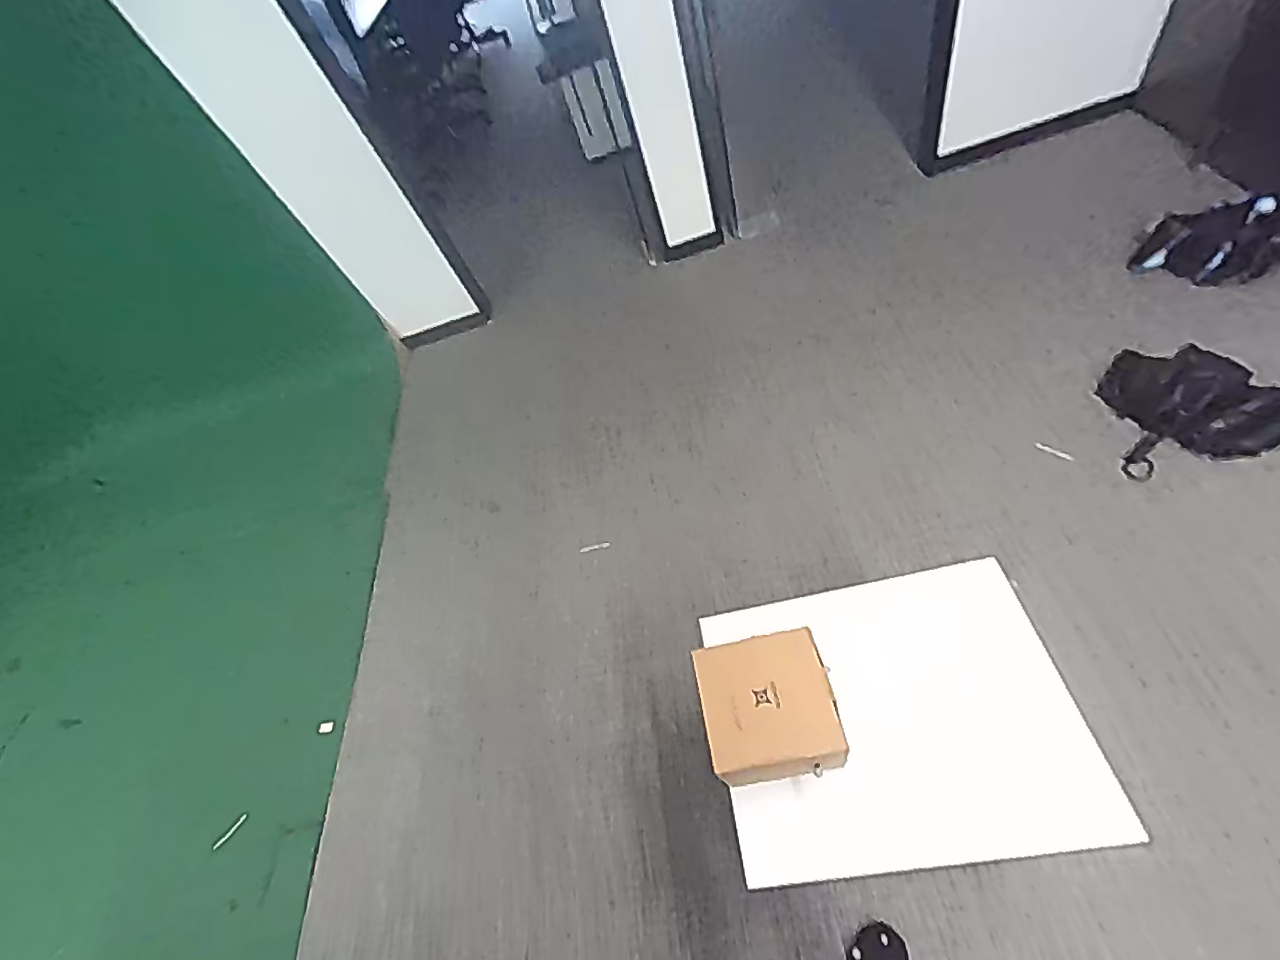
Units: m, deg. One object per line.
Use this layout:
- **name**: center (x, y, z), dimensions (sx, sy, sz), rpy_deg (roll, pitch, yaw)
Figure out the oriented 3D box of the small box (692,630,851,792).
- **small box**: center (0.186, 0.338, 0.781), dimensions (0.179, 0.176, 0.168), rpy_deg (-15, 51, 7)
